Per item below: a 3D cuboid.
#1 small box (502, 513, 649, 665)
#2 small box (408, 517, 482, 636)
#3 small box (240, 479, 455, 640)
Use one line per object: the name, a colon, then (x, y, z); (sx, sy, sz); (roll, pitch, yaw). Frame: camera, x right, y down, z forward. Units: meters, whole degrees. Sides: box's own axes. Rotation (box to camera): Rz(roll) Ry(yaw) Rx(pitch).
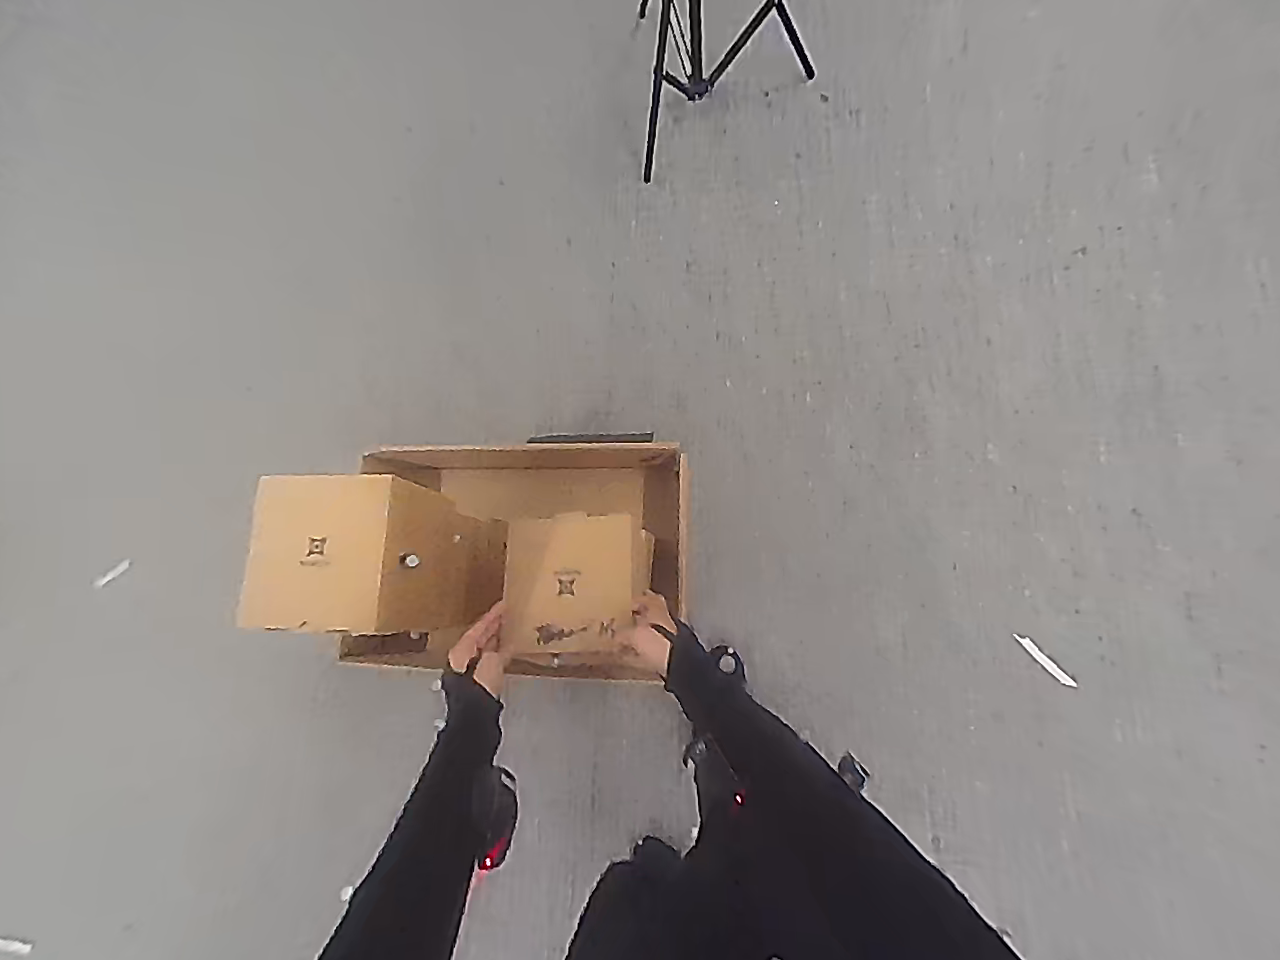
small box: (-0.078, 0.158, 0.752); (0.168, 0.176, 0.179); (-4, 67, 6)
small box: (-0.353, 0.145, 0.832); (0.168, 0.176, 0.179); (-4, 79, 5)
small box: (-0.344, 0.100, 0.673); (0.168, 0.176, 0.179); (-1, 79, 6)
